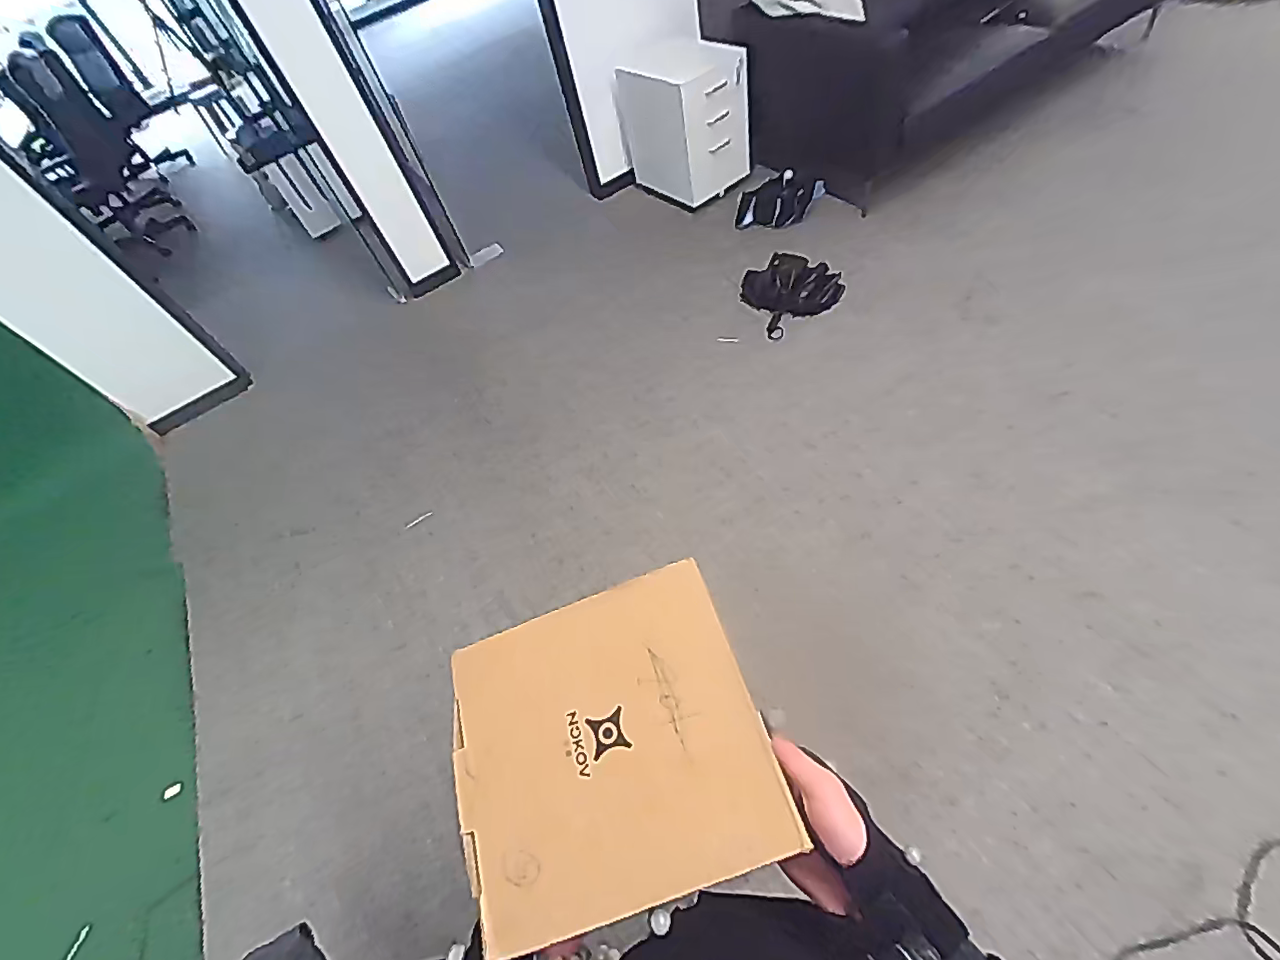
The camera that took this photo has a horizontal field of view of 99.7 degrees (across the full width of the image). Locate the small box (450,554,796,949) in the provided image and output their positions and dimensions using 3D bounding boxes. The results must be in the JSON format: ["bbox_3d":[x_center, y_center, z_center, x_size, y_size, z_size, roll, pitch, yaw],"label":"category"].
[{"bbox_3d":[-0.004,0.182,0.379,0.179,0.176,0.168,-23,58,2],"label":"small box"}]
